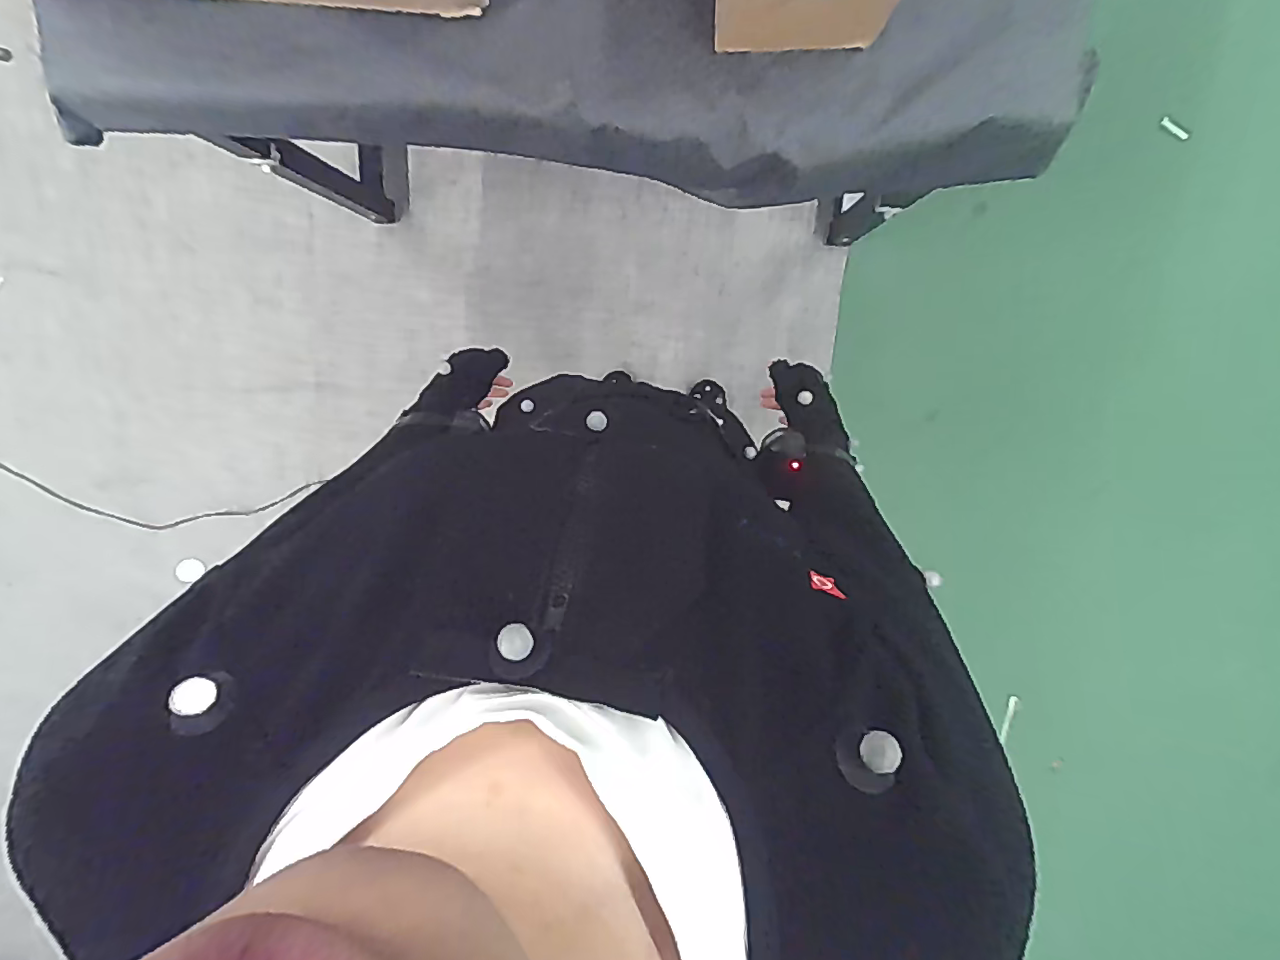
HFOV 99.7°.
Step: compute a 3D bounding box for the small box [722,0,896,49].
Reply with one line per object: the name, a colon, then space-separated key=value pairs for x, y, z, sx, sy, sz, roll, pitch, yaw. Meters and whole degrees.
small box: x=0.176 y=-0.553 z=0.522 sx=0.179 sy=0.176 sz=0.168 roll=0 pitch=103 yaw=2
